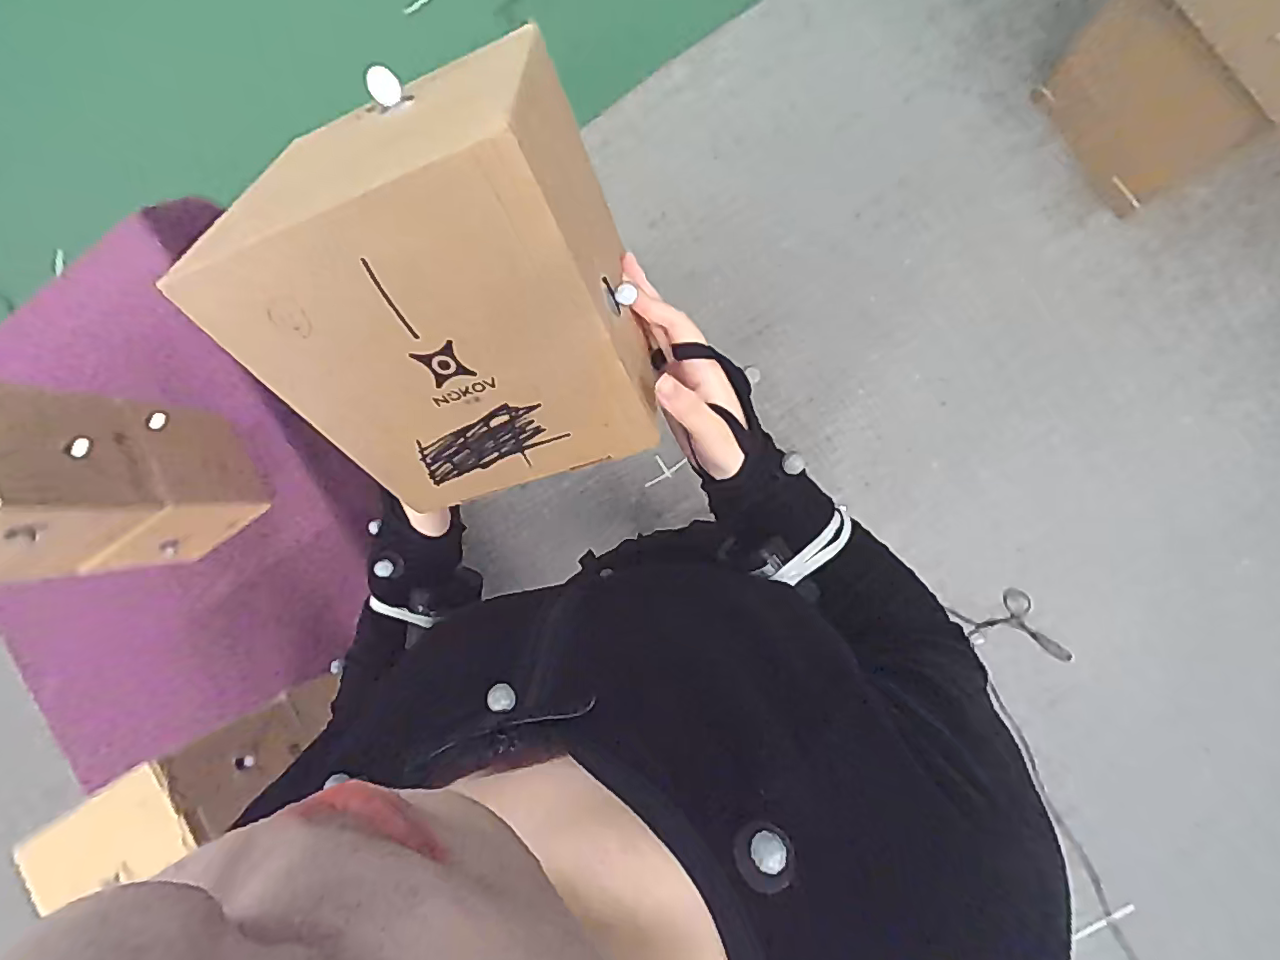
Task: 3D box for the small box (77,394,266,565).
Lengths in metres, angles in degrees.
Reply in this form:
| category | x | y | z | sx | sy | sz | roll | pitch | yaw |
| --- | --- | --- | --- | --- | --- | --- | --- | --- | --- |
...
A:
| category | x | y | z | sx | sy | sz | roll | pitch | yaw |
| --- | --- | --- | --- | --- | --- | --- | --- | --- | --- |
| small box | -0.705 | 0.001 | 0.794 | 0.168 | 0.176 | 0.179 | -33 | 84 | 5 |

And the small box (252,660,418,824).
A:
| category | x | y | z | sx | sy | sz | roll | pitch | yaw |
| --- | --- | --- | --- | --- | --- | --- | --- | --- | --- |
| small box | -0.449 | 0.370 | 0.745 | 0.168 | 0.176 | 0.179 | -34 | 83 | 5 |

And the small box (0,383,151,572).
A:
| category | x | y | z | sx | sy | sz | roll | pitch | yaw |
| --- | --- | --- | --- | --- | --- | --- | --- | --- | --- |
| small box | -0.731 | -0.002 | 0.631 | 0.179 | 0.176 | 0.168 | -31 | 84 | 5 |

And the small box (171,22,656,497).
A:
| category | x | y | z | sx | sy | sz | roll | pitch | yaw |
| --- | --- | --- | --- | --- | --- | --- | --- | --- | --- |
| small box | -0.095 | -0.120 | 0.319 | 0.168 | 0.179 | 0.176 | -14 | 48 | 12 |

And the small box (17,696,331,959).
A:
| category | x | y | z | sx | sy | sz | roll | pitch | yaw |
| --- | --- | --- | --- | --- | --- | --- | --- | --- | --- |
| small box | -0.474 | 0.366 | 0.583 | 0.179 | 0.176 | 0.168 | -32 | 84 | 6 |
